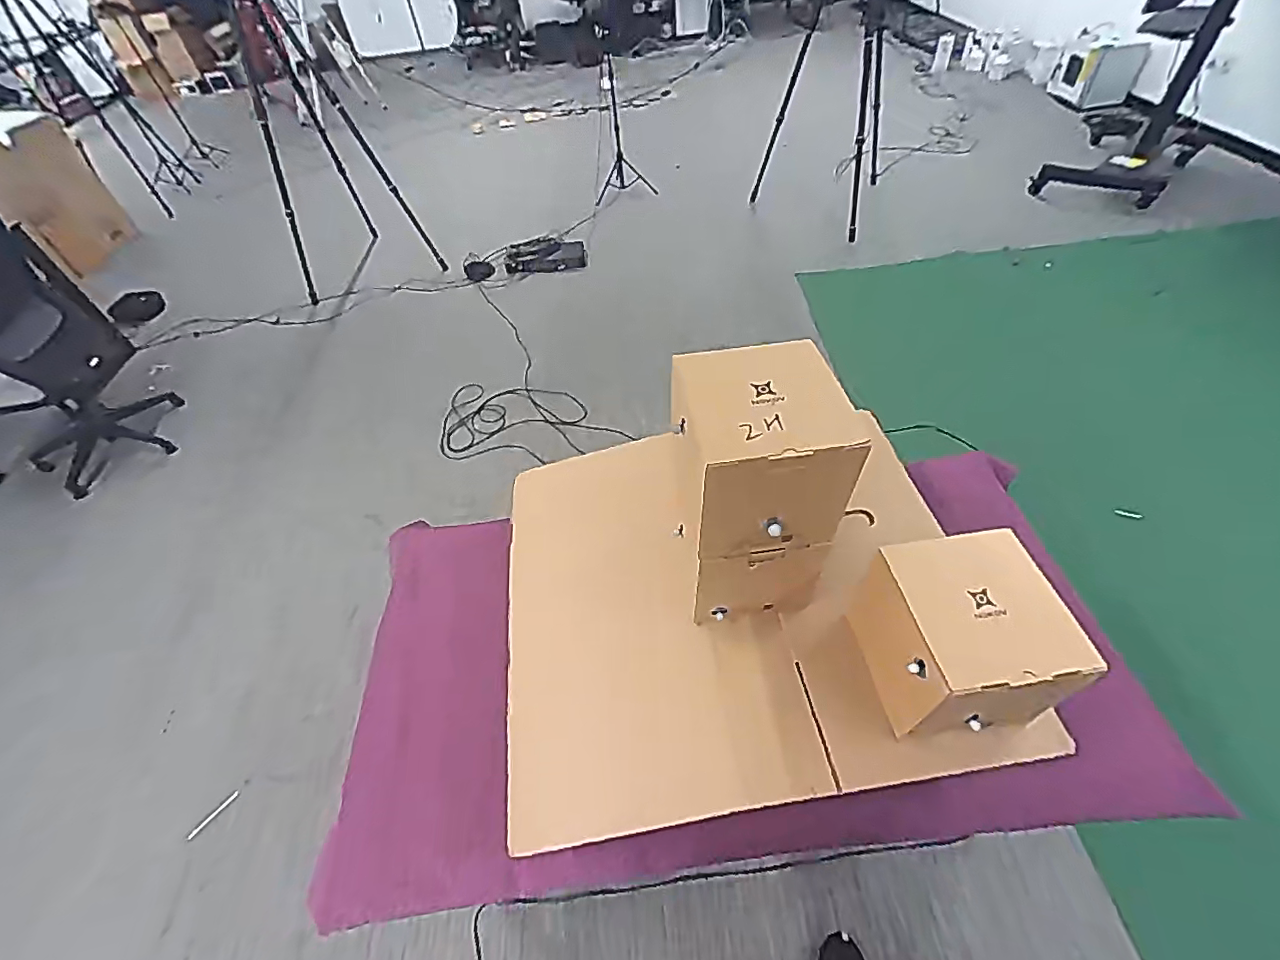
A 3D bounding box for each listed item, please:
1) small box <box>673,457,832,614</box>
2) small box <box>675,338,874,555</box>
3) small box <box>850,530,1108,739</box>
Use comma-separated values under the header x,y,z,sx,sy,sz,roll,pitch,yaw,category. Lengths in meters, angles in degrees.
x,y,z,sx,sy,sz,roll,pitch,yaw,category
0.141,0.071,0.747,0.168,0.176,0.179,-7,49,-4,small box
0.134,-0.037,0.624,0.168,0.176,0.179,-7,50,-4,small box
0.374,0.184,0.642,0.168,0.176,0.179,-7,51,-3,small box
